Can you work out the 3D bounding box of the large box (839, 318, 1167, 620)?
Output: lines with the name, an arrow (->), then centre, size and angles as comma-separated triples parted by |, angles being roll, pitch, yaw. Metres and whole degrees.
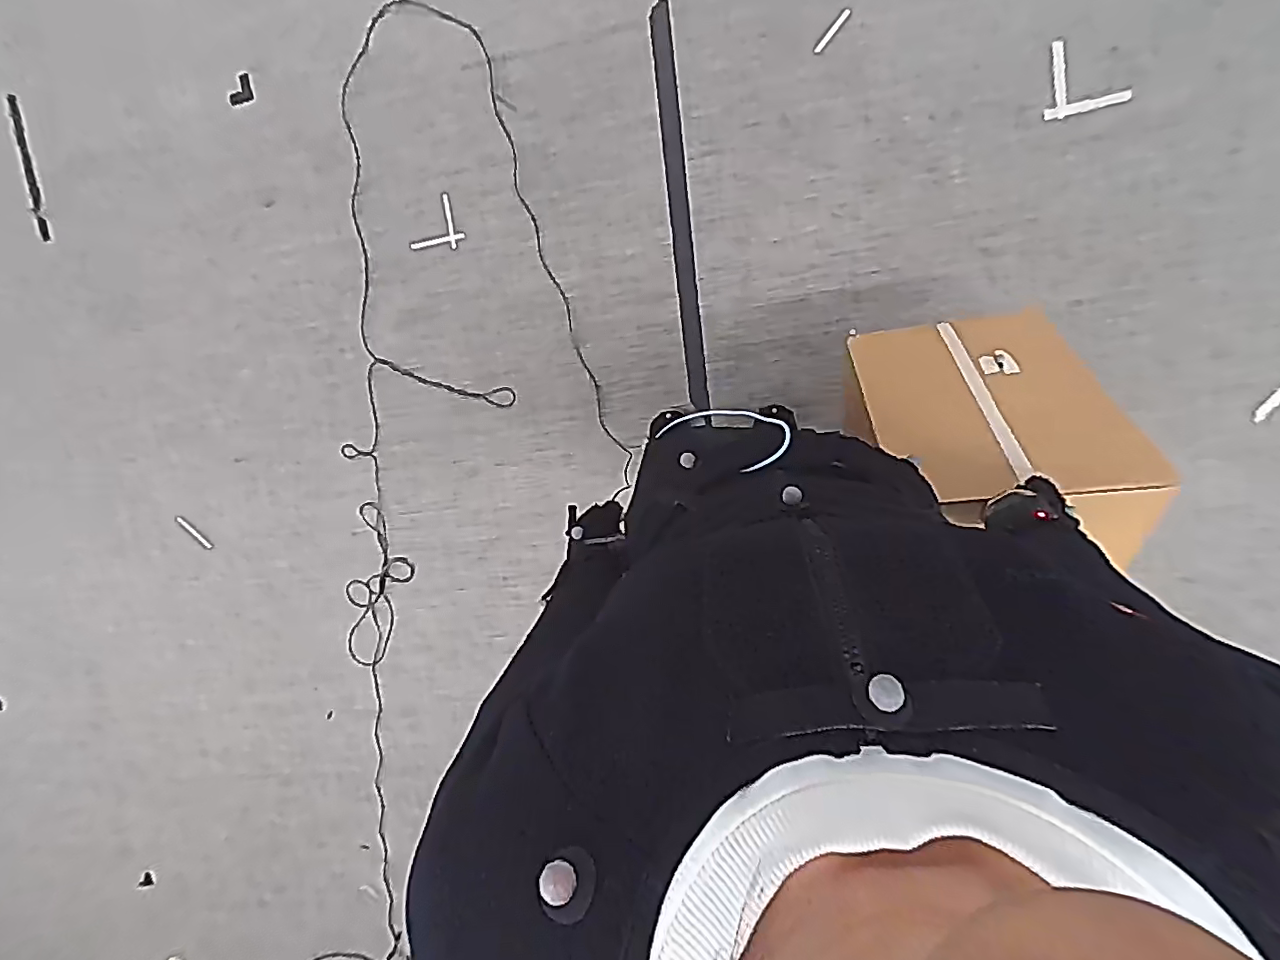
large box -> 0.539, -0.019, 0.922 | 0.320, 0.408, 0.320 | -5, 135, 11
